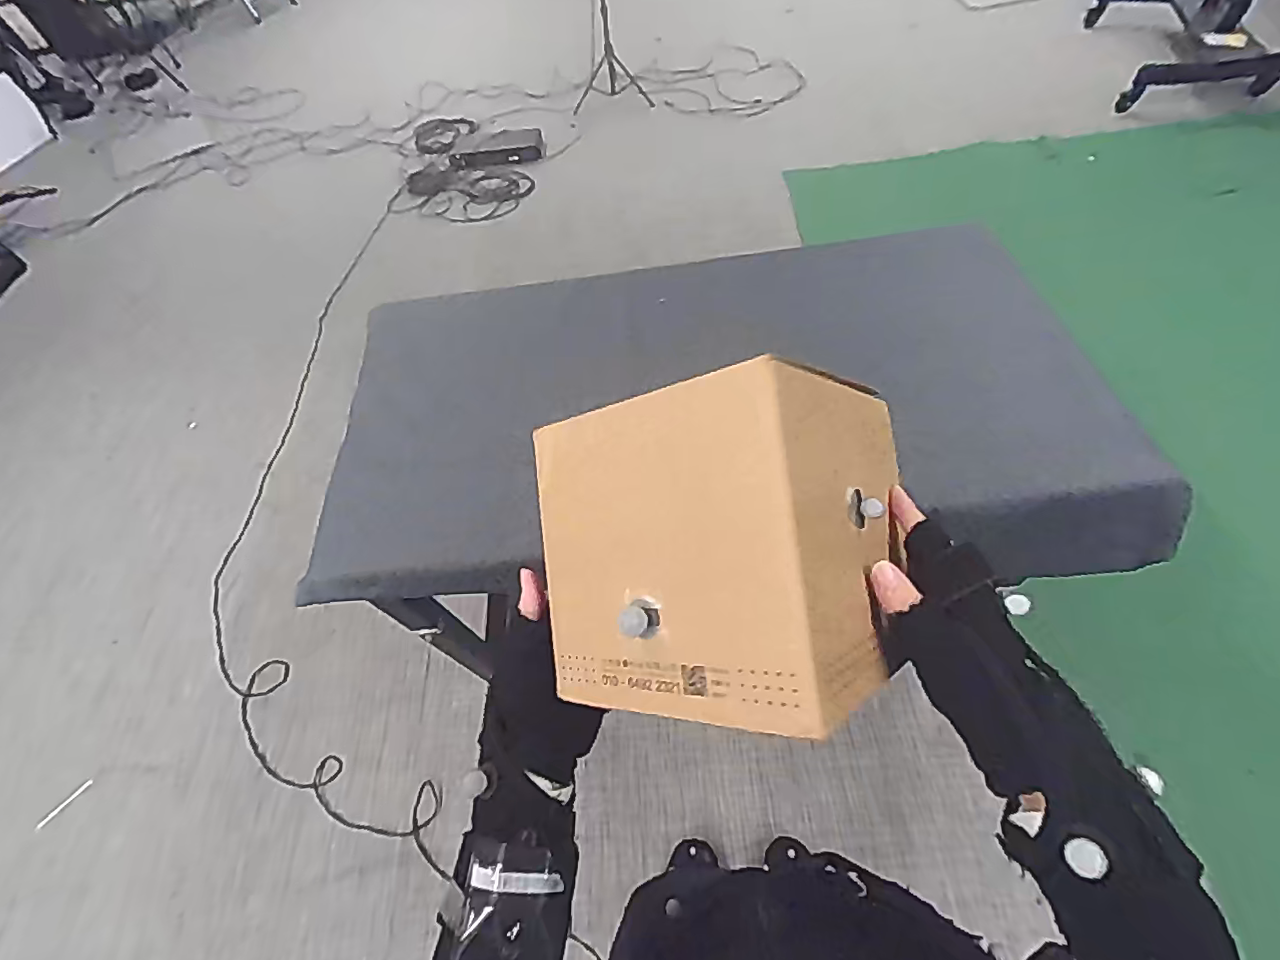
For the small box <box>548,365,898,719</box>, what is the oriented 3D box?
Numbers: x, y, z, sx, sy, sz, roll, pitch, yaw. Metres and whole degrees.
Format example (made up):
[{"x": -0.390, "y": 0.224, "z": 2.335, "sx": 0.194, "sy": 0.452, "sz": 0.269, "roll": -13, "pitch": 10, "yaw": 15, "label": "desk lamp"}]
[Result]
[{"x": 0.060, "y": 0.038, "z": 0.362, "sx": 0.168, "sy": 0.179, "sz": 0.176, "roll": -11, "pitch": 84, "yaw": 39, "label": "small box"}]
